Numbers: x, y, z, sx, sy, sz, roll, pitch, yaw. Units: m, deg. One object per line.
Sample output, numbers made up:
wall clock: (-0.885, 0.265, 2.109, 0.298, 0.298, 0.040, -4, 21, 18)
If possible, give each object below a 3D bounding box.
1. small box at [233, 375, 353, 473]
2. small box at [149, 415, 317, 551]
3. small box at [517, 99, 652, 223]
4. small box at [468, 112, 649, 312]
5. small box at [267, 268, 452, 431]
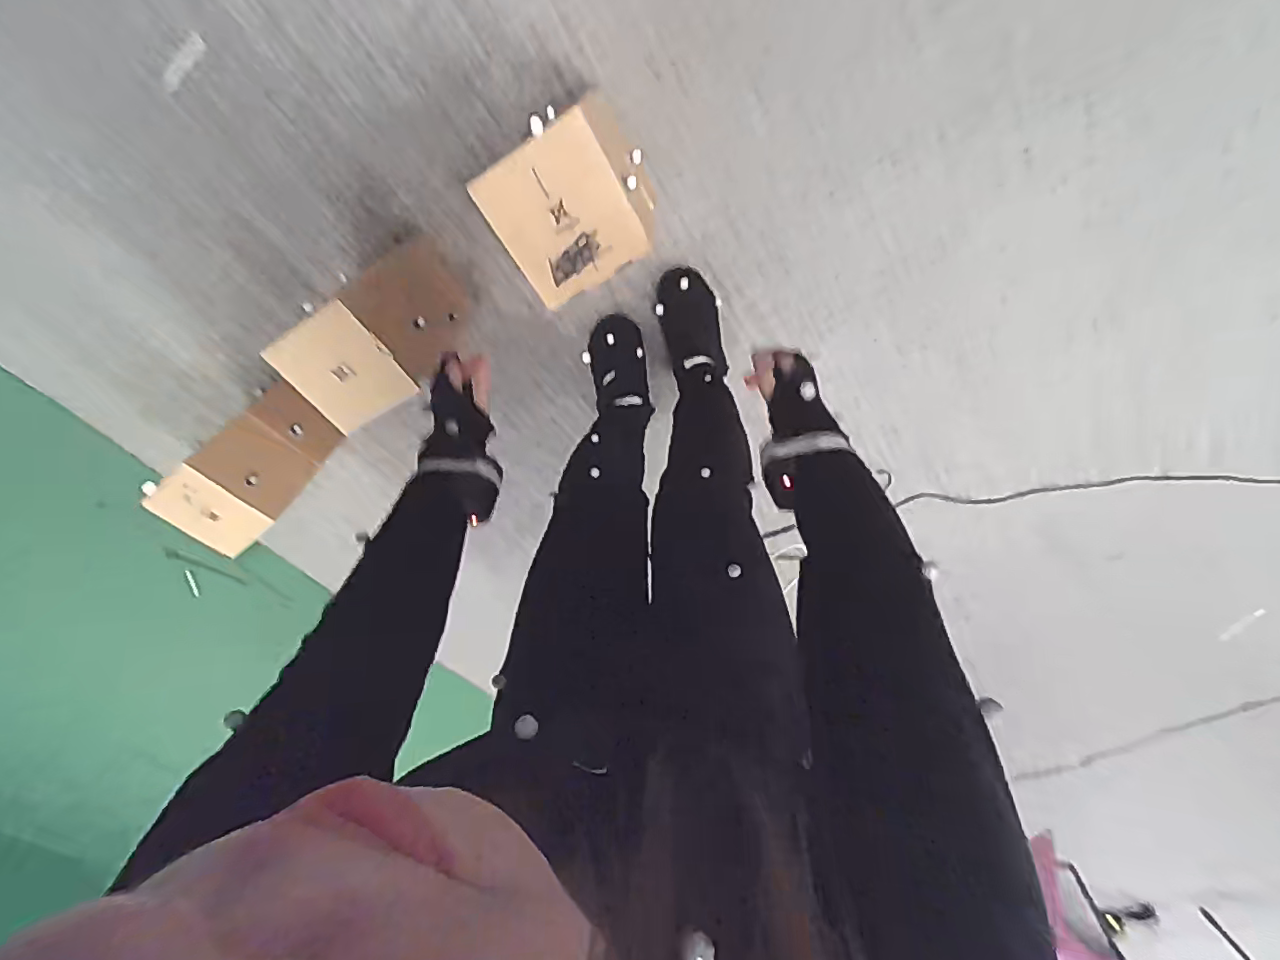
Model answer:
small box: (-0.785, -0.100, 1.201, 0.168, 0.176, 0.179, -28, 121, 22)
small box: (-0.792, 0.003, 1.074, 0.168, 0.176, 0.179, -30, 120, 22)
small box: (-0.089, -0.475, 0.869, 0.168, 0.176, 0.179, -25, 123, 20)
small box: (-0.096, -0.370, 0.742, 0.168, 0.176, 0.179, -23, 122, 19)
small box: (-0.443, -0.215, 0.884, 0.179, 0.176, 0.168, -23, 122, 19)
